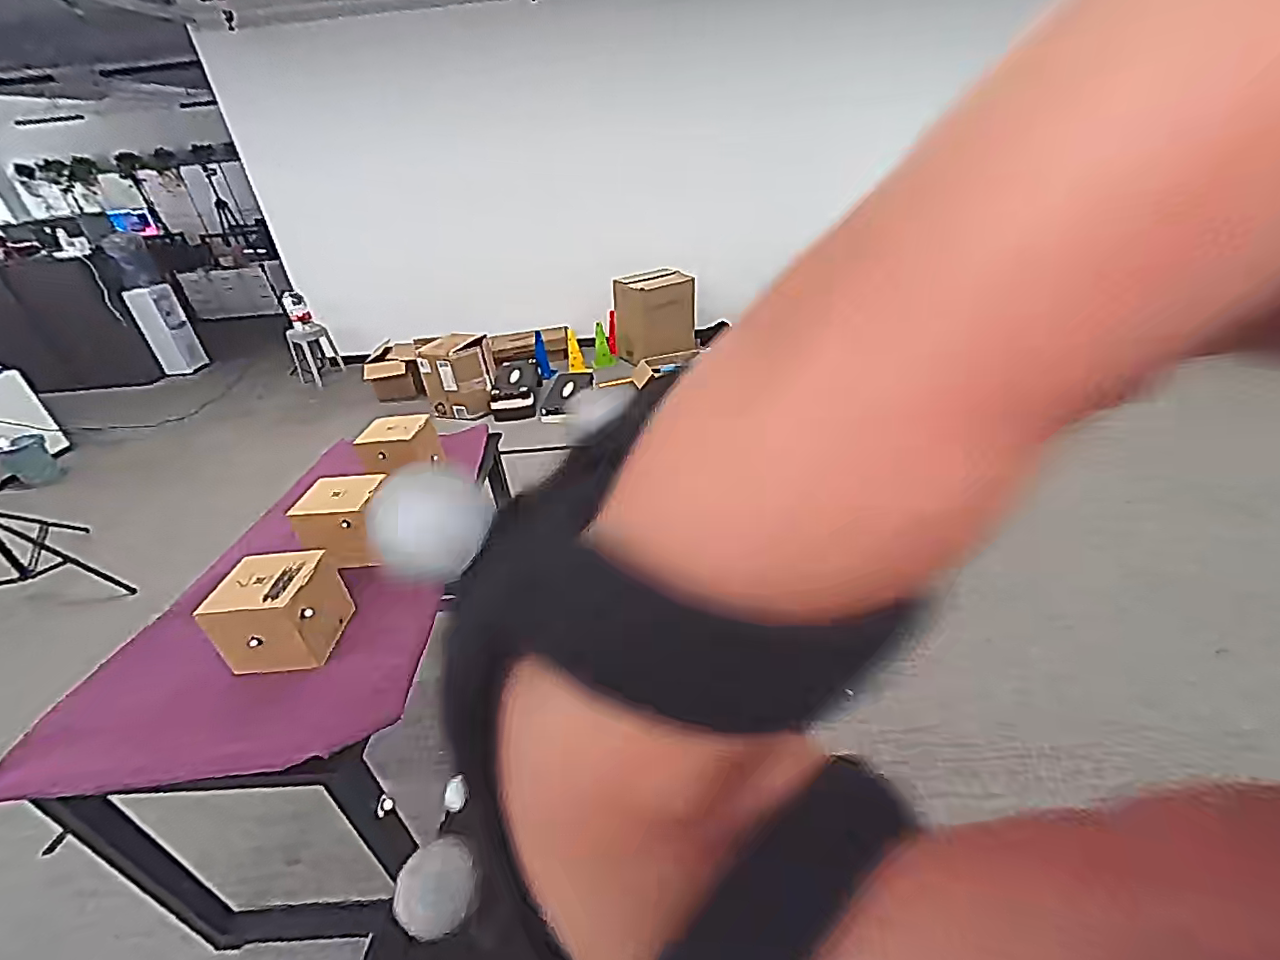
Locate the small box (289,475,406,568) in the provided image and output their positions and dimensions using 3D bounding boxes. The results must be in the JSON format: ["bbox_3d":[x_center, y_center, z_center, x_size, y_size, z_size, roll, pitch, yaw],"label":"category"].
[{"bbox_3d":[-0.718,0.105,1.350,0.179,0.176,0.168,-4,32,2],"label":"small box"}]

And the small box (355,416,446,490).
[{"bbox_3d":[-0.716,-0.078,1.637,0.179,0.176,0.168,-4,33,4],"label":"small box"}]
